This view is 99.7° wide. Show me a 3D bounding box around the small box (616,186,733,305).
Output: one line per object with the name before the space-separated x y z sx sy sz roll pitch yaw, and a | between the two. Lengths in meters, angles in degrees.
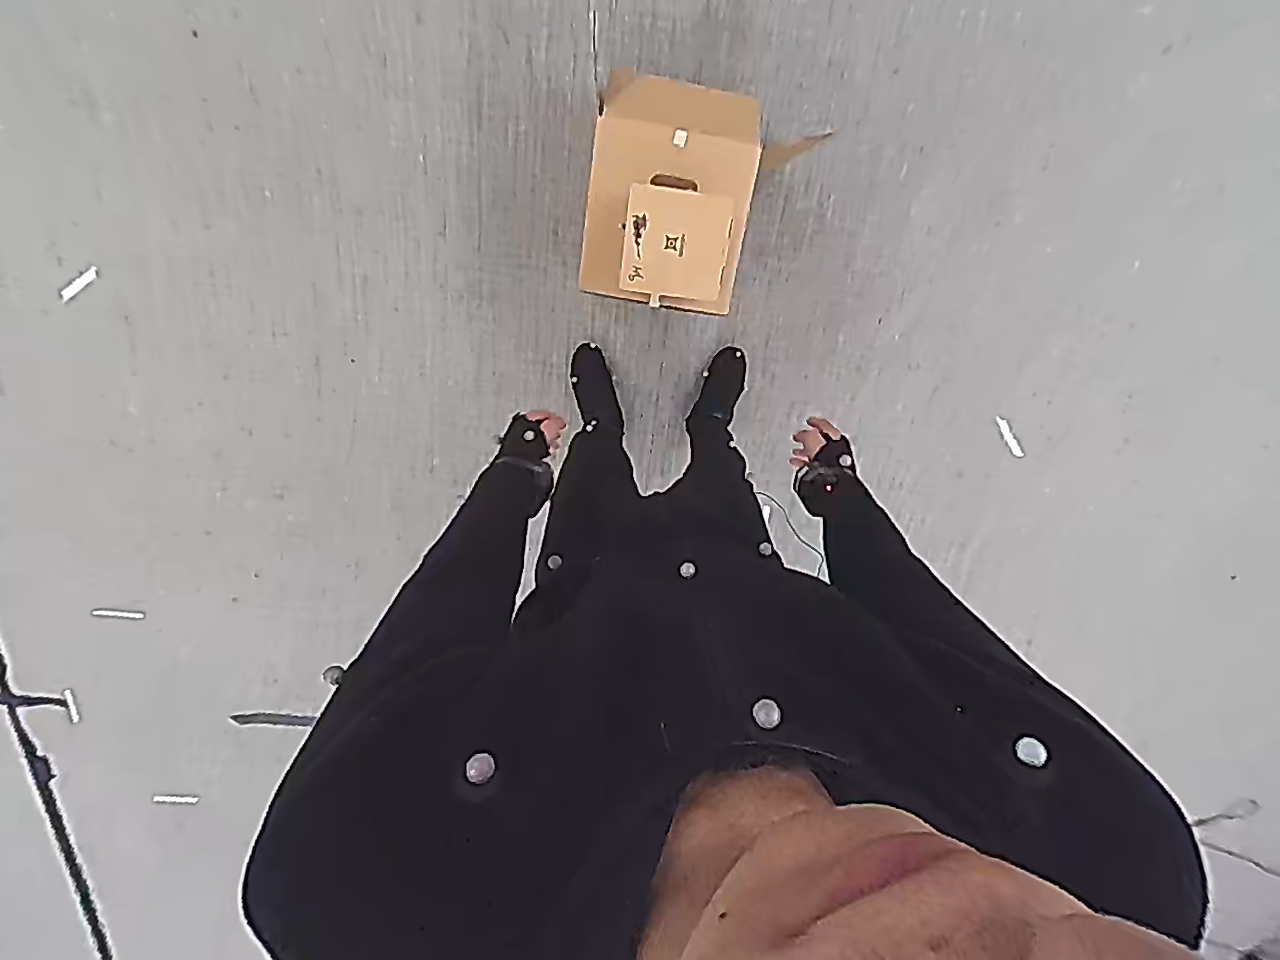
small box | 0.053 -0.425 0.990 0.179 0.176 0.168 6 111 -5
